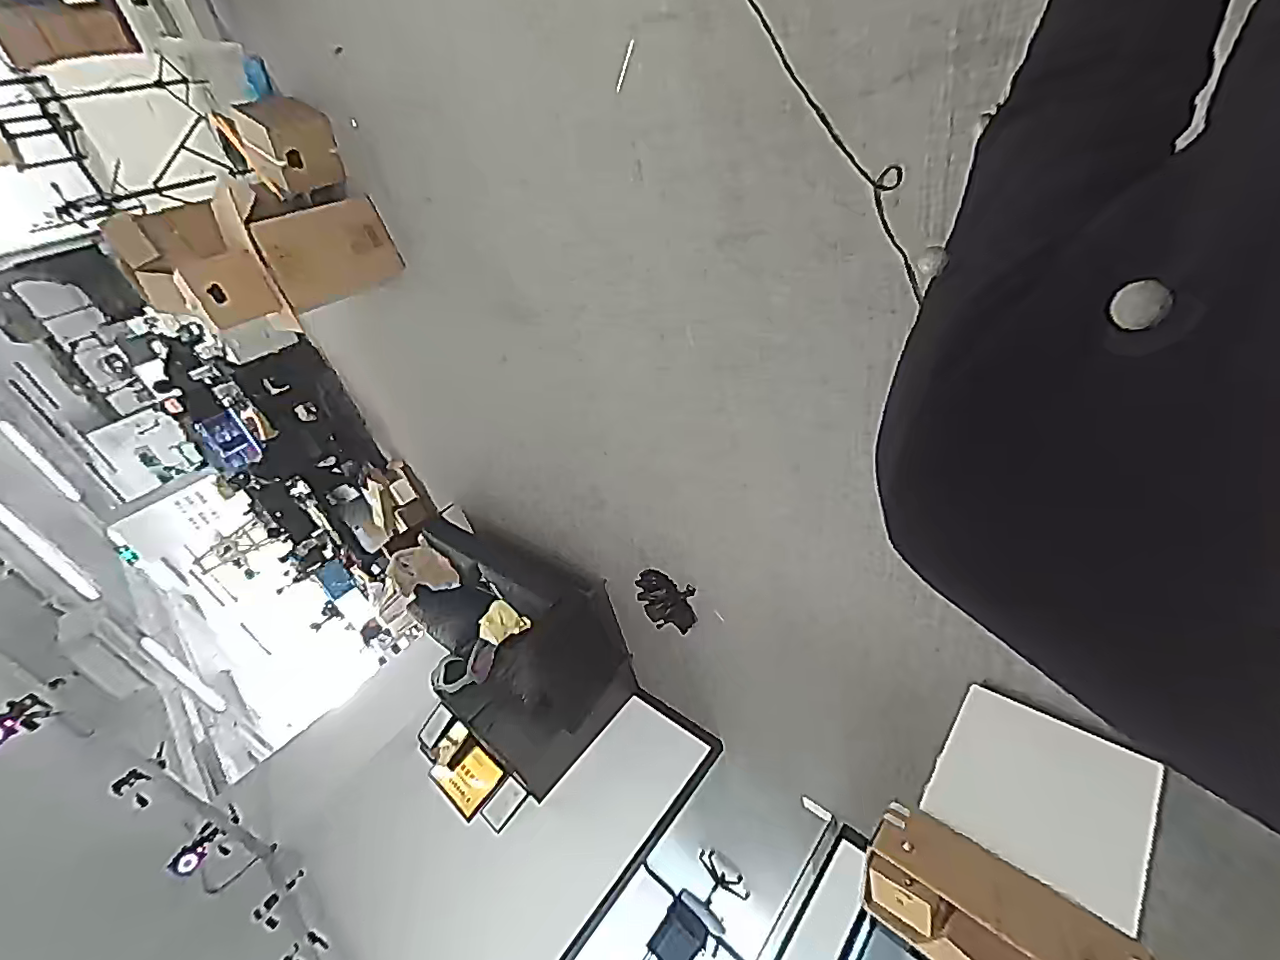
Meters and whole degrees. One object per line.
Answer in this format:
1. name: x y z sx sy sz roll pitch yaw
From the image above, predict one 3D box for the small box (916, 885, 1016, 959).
1. small box: 0.932 1.310 1.542 0.168 0.176 0.179 35 138 25
